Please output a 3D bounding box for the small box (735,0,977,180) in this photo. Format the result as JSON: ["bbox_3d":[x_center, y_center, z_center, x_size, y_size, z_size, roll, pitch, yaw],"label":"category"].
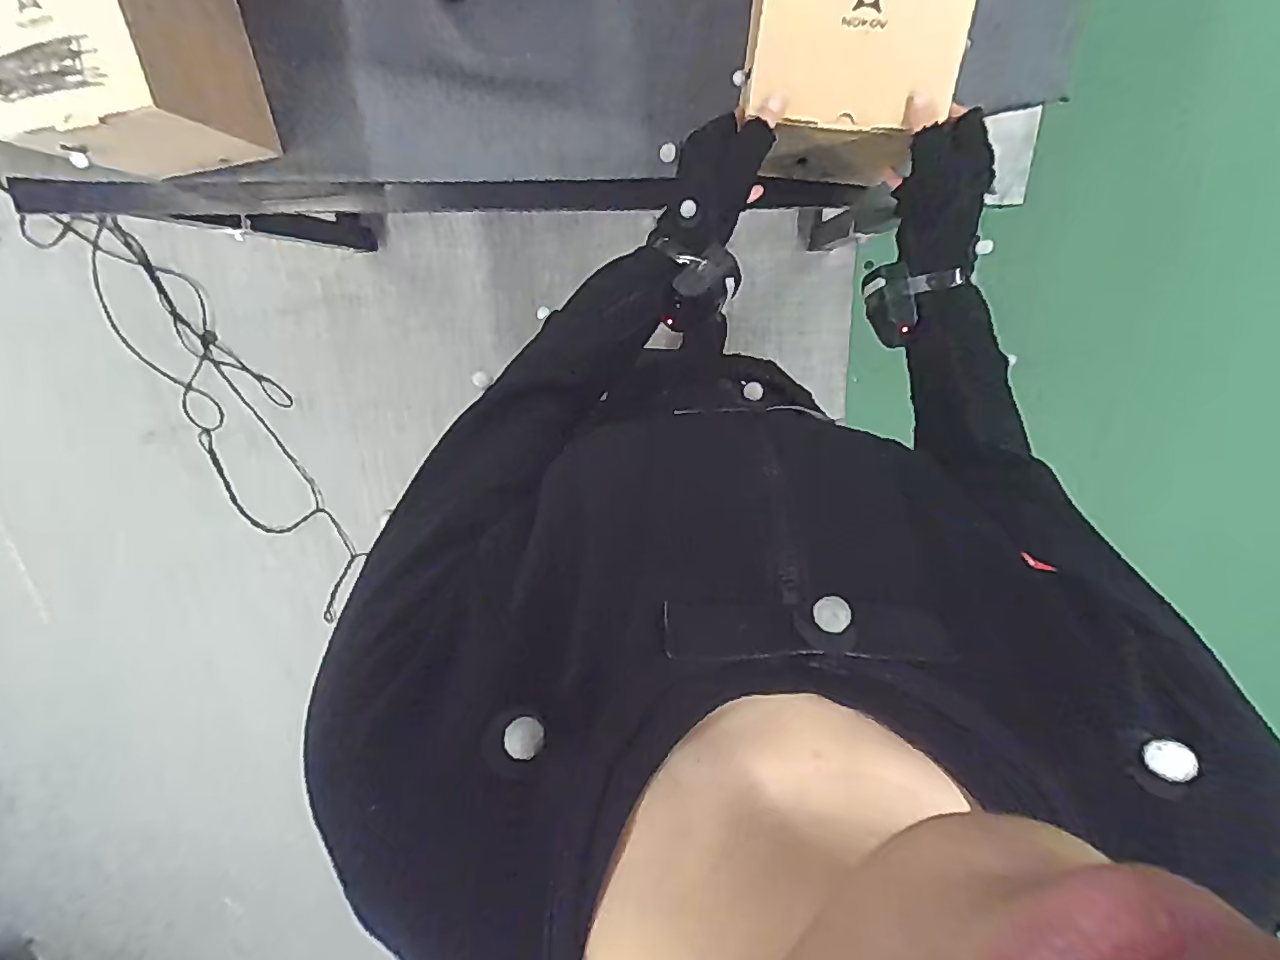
[{"bbox_3d":[0.187,-0.402,0.502,0.168,0.176,0.179,7,108,2],"label":"small box"}]
